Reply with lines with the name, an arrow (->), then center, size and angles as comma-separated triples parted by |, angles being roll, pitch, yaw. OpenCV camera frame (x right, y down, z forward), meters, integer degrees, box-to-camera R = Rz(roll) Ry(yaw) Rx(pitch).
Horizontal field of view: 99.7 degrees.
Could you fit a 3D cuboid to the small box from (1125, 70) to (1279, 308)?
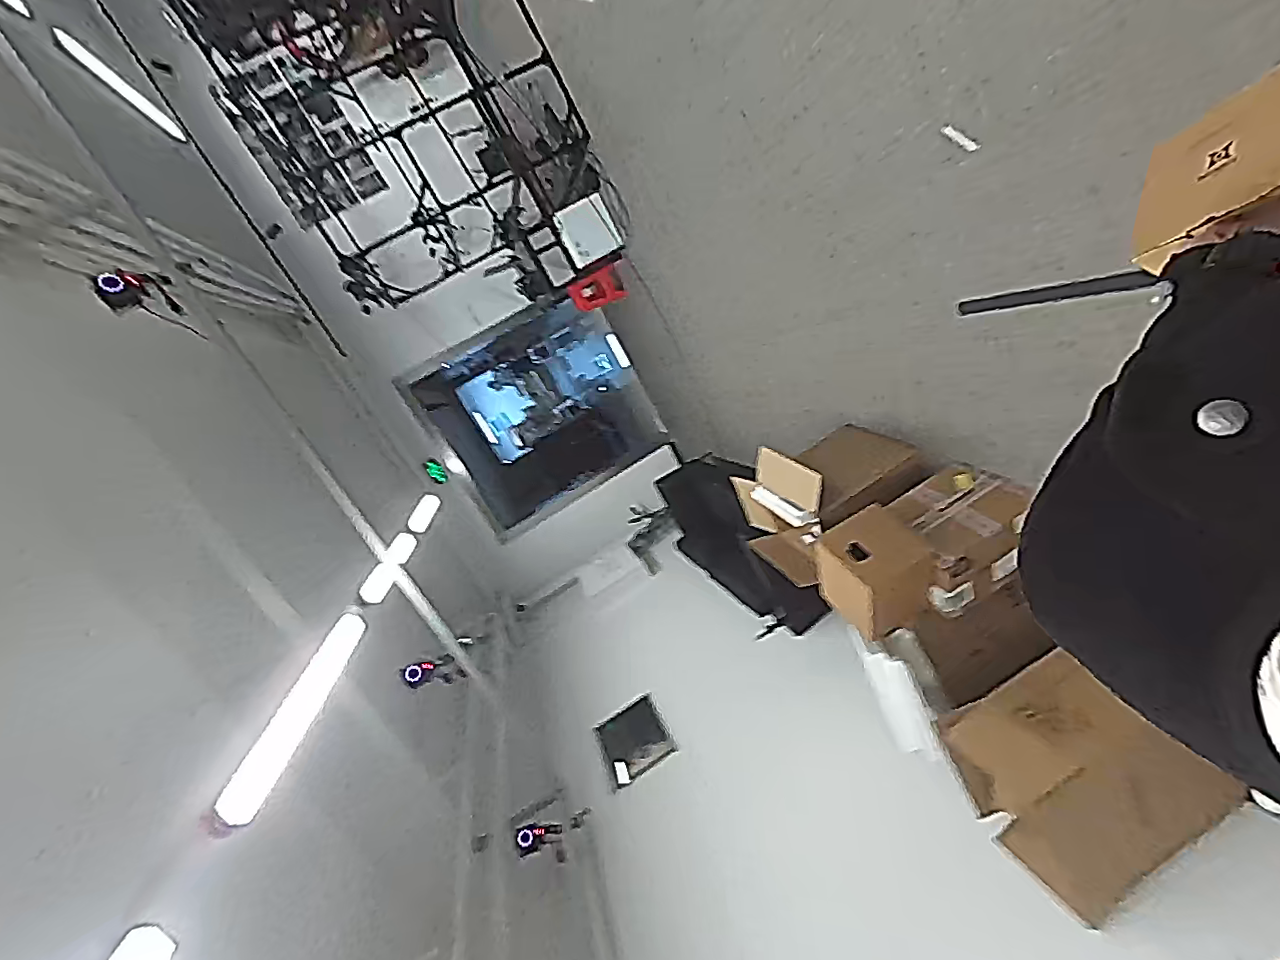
small box -> 0.724, -0.323, 0.622 | 0.176, 0.179, 0.168 | 23, 169, -7
